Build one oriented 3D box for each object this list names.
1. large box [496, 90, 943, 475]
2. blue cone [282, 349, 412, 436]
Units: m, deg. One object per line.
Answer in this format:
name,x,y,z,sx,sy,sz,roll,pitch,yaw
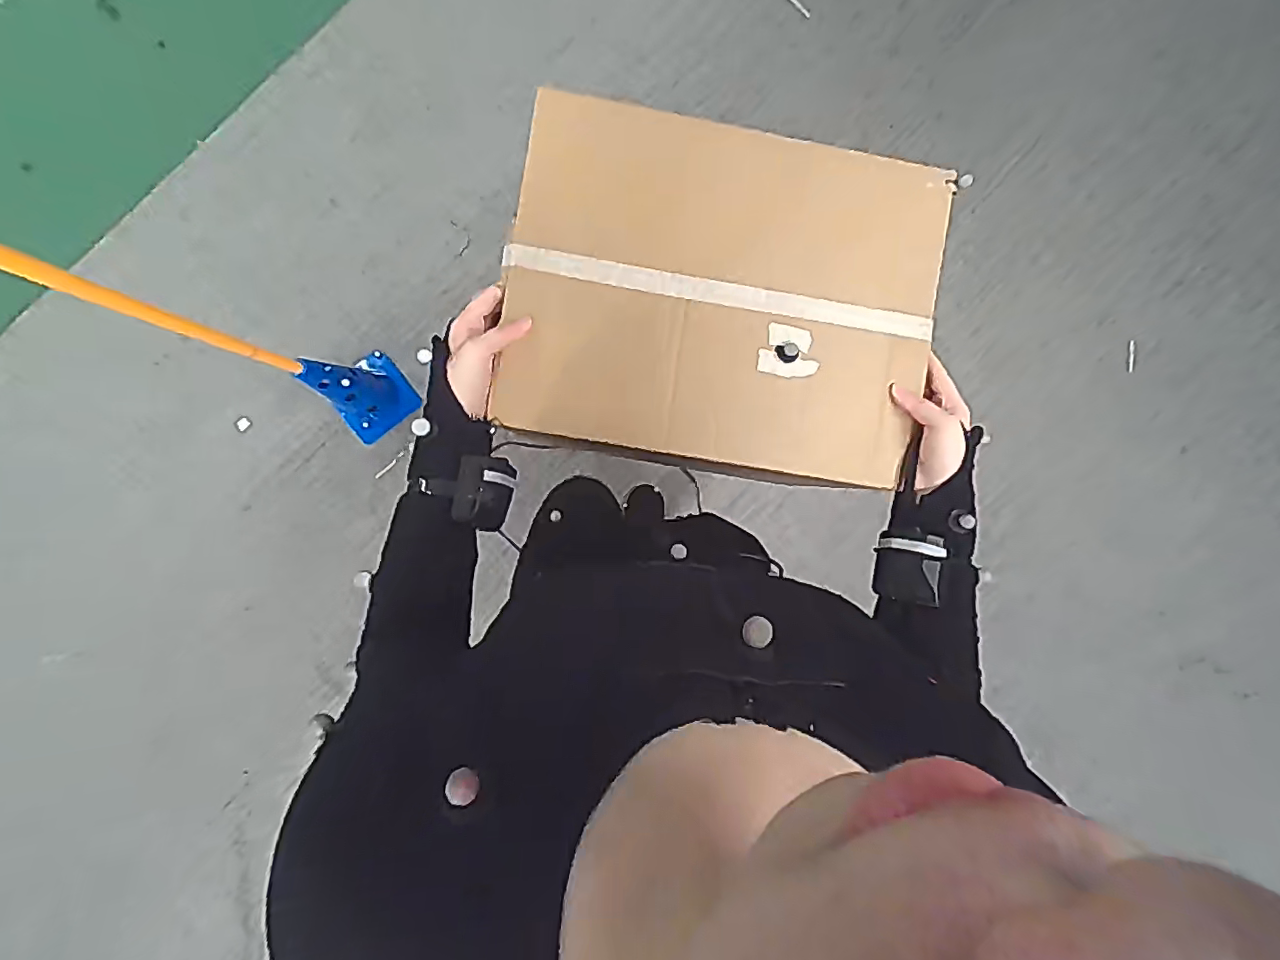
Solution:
large box,0.068,-0.185,0.661,0.408,0.320,0.320,9,91,-5
blue cone,-0.737,-0.242,1.320,0.193,0.380,0.192,-37,89,-3
